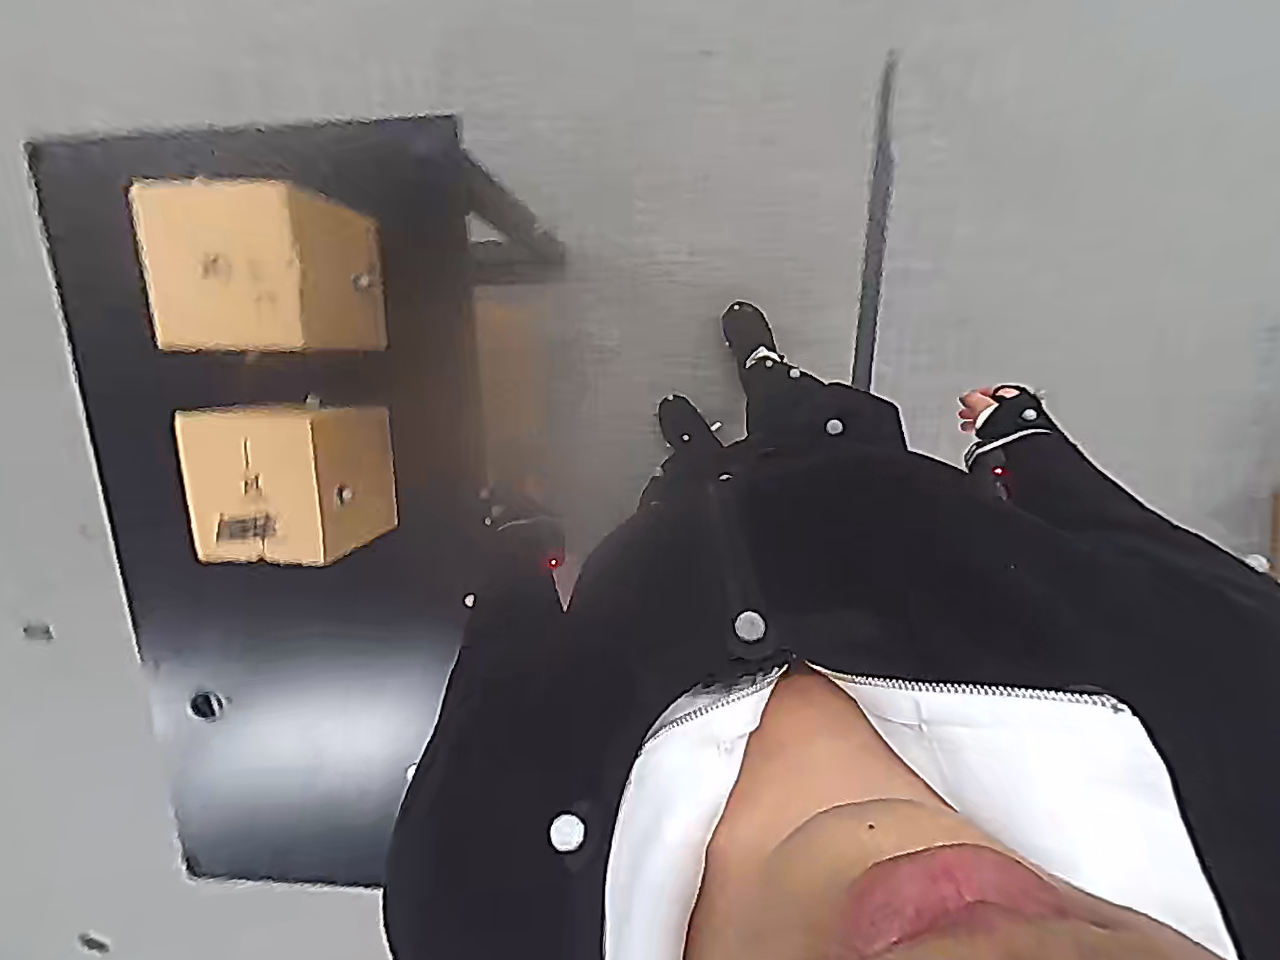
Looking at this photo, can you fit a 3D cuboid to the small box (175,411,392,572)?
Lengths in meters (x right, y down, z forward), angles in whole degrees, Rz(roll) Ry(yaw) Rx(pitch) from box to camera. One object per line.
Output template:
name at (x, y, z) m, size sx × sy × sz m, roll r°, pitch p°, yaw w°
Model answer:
small box at (-0.447, 0.006, 0.709) m, size 0.168 × 0.176 × 0.179 m, roll 1°, pitch 101°, yaw 4°

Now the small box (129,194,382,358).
small box at (-0.447, -0.234, 0.657) m, size 0.179 × 0.176 × 0.168 m, roll 1°, pitch 103°, yaw 5°
